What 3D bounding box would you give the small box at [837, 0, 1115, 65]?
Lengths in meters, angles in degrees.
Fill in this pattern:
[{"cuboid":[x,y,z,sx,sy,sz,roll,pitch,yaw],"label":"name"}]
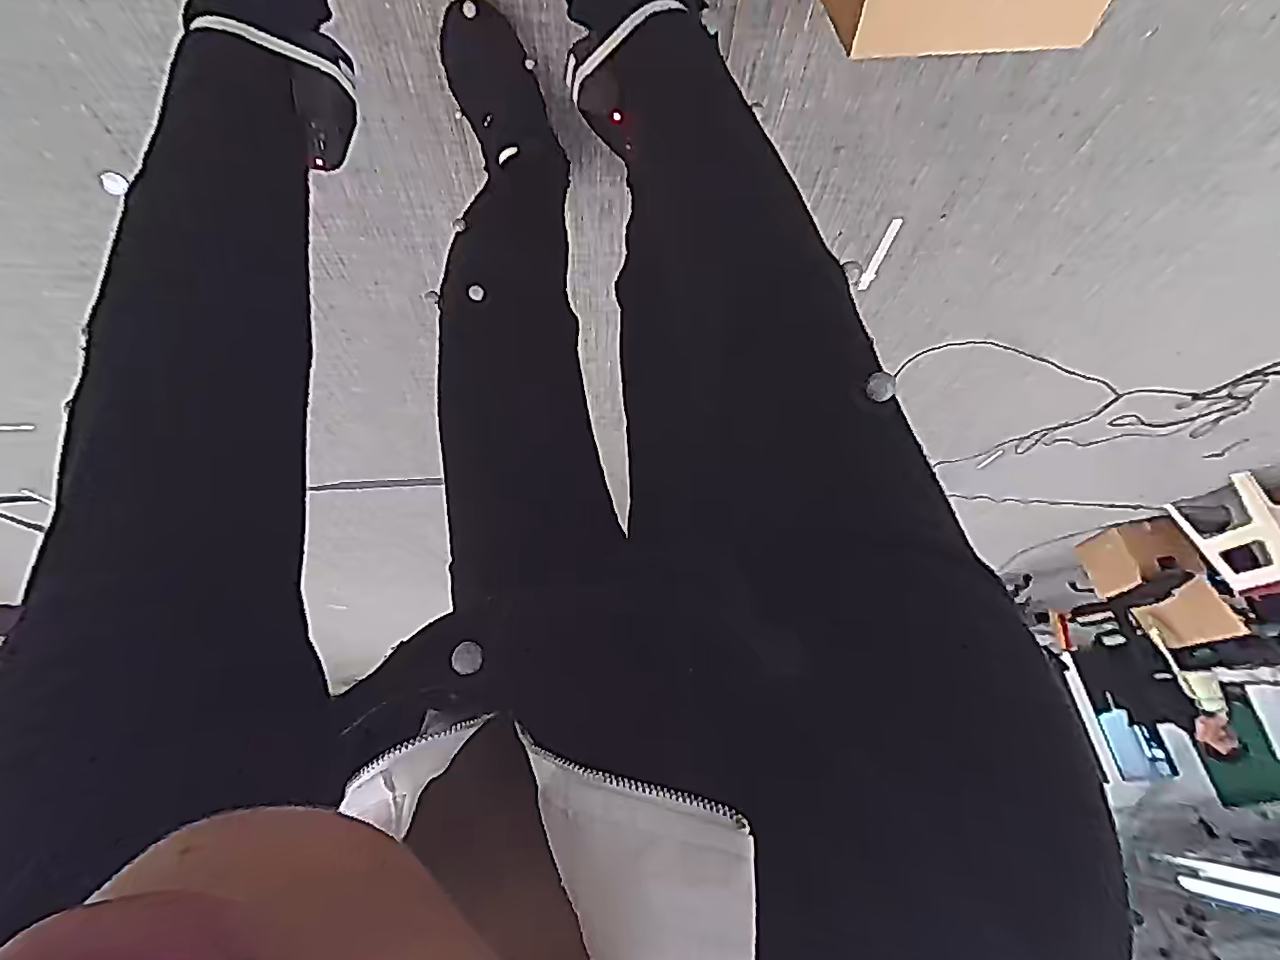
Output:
[{"cuboid":[0.215,-0.398,0.328,0.168,0.176,0.179,-4,154,-1],"label":"small box"}]
